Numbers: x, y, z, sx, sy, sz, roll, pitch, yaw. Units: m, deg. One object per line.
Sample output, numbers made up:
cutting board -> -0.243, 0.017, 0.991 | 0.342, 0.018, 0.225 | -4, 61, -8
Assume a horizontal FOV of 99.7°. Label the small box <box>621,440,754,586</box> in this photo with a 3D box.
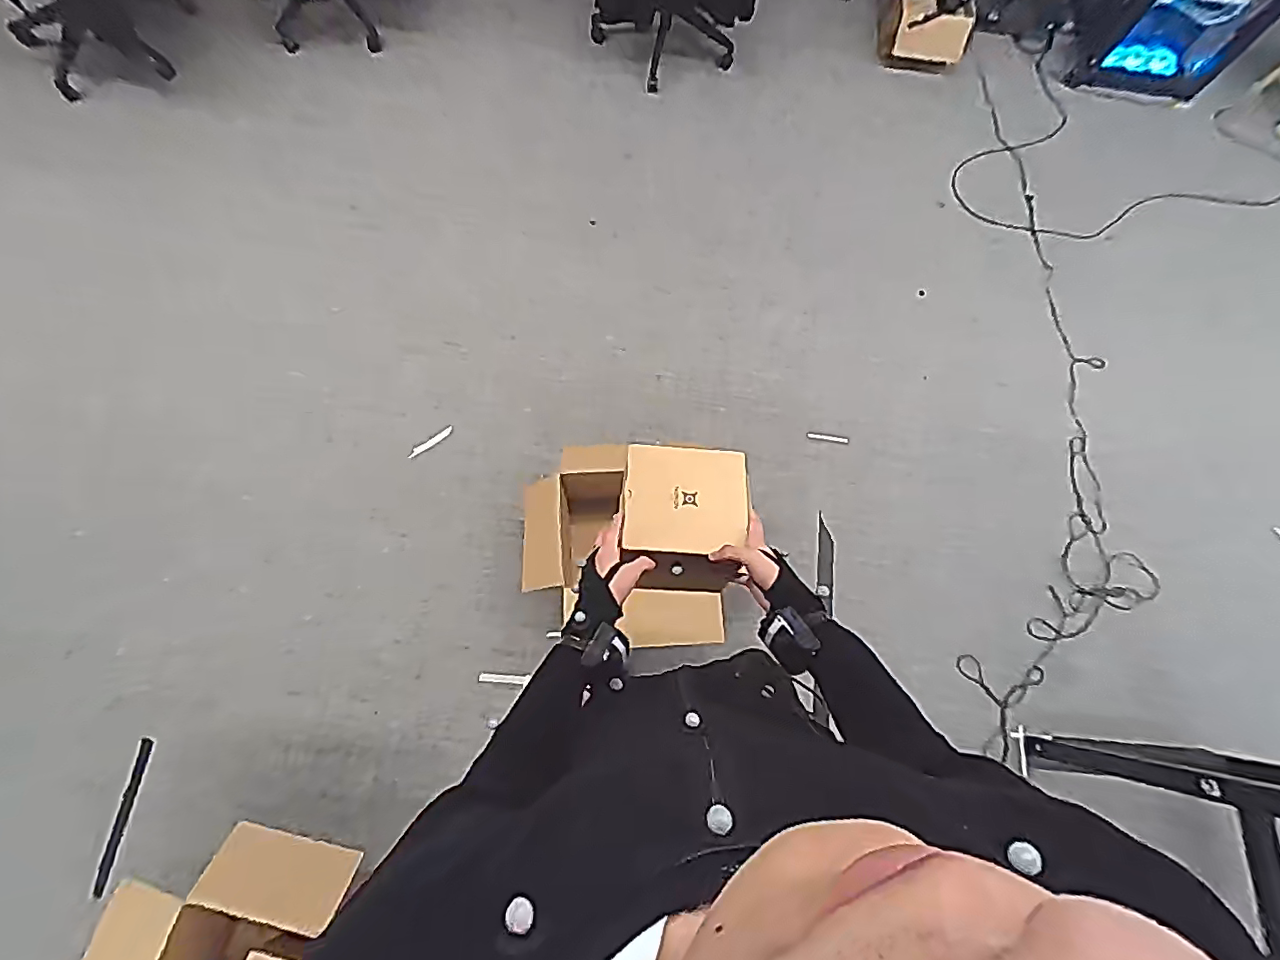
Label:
small box -> 0.064, 0.057, 0.817 | 0.179, 0.176, 0.168 | 3, 62, -1
